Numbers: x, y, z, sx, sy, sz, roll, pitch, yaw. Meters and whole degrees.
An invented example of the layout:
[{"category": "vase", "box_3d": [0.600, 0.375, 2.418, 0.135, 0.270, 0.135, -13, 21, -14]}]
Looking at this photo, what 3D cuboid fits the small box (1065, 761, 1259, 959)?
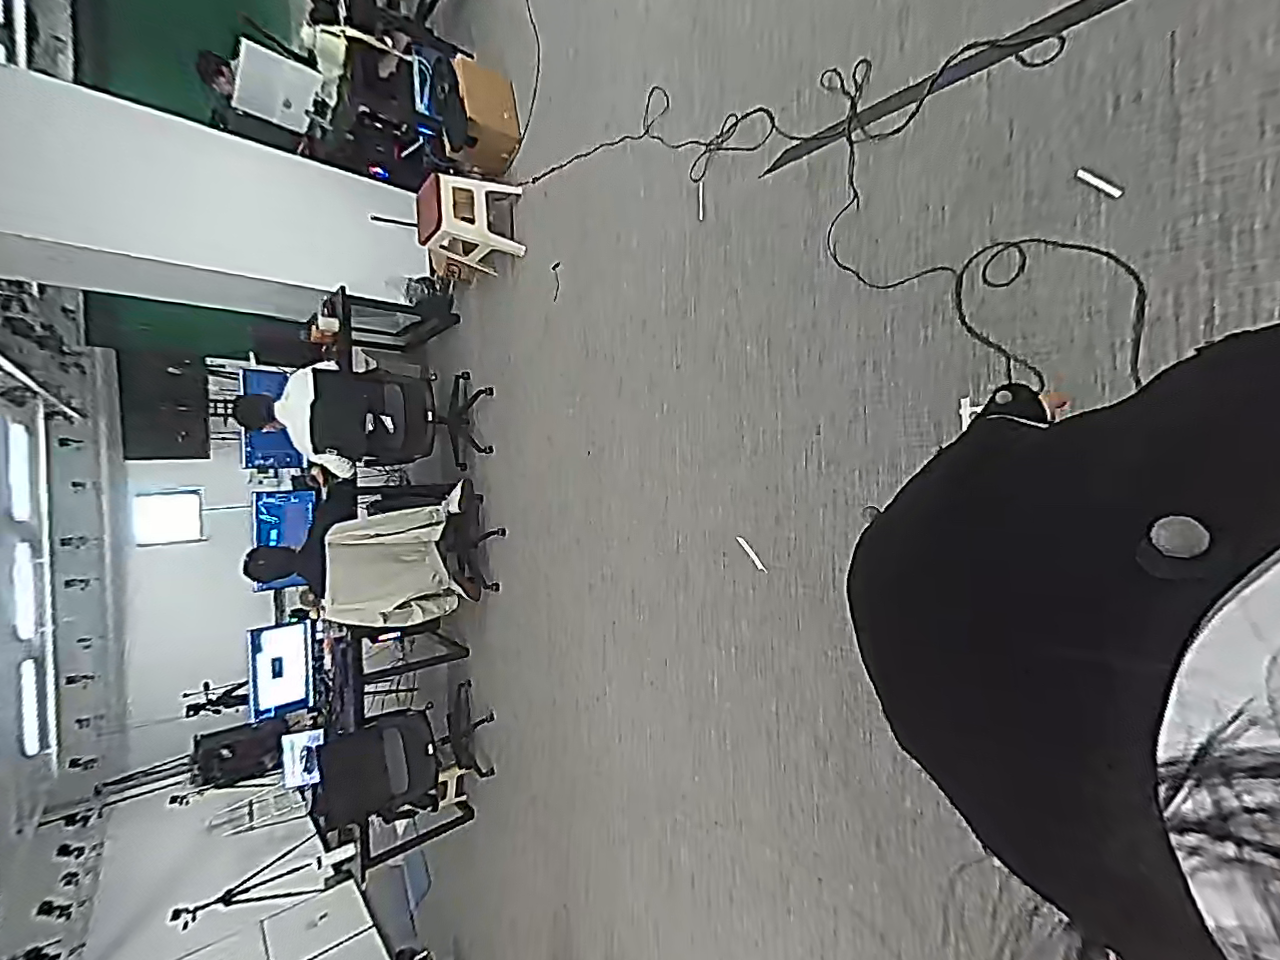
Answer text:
[{"category": "small box", "box_3d": [0.690, 0.508, 0.718, 0.168, 0.176, 0.179, 0, 90, 52]}]
